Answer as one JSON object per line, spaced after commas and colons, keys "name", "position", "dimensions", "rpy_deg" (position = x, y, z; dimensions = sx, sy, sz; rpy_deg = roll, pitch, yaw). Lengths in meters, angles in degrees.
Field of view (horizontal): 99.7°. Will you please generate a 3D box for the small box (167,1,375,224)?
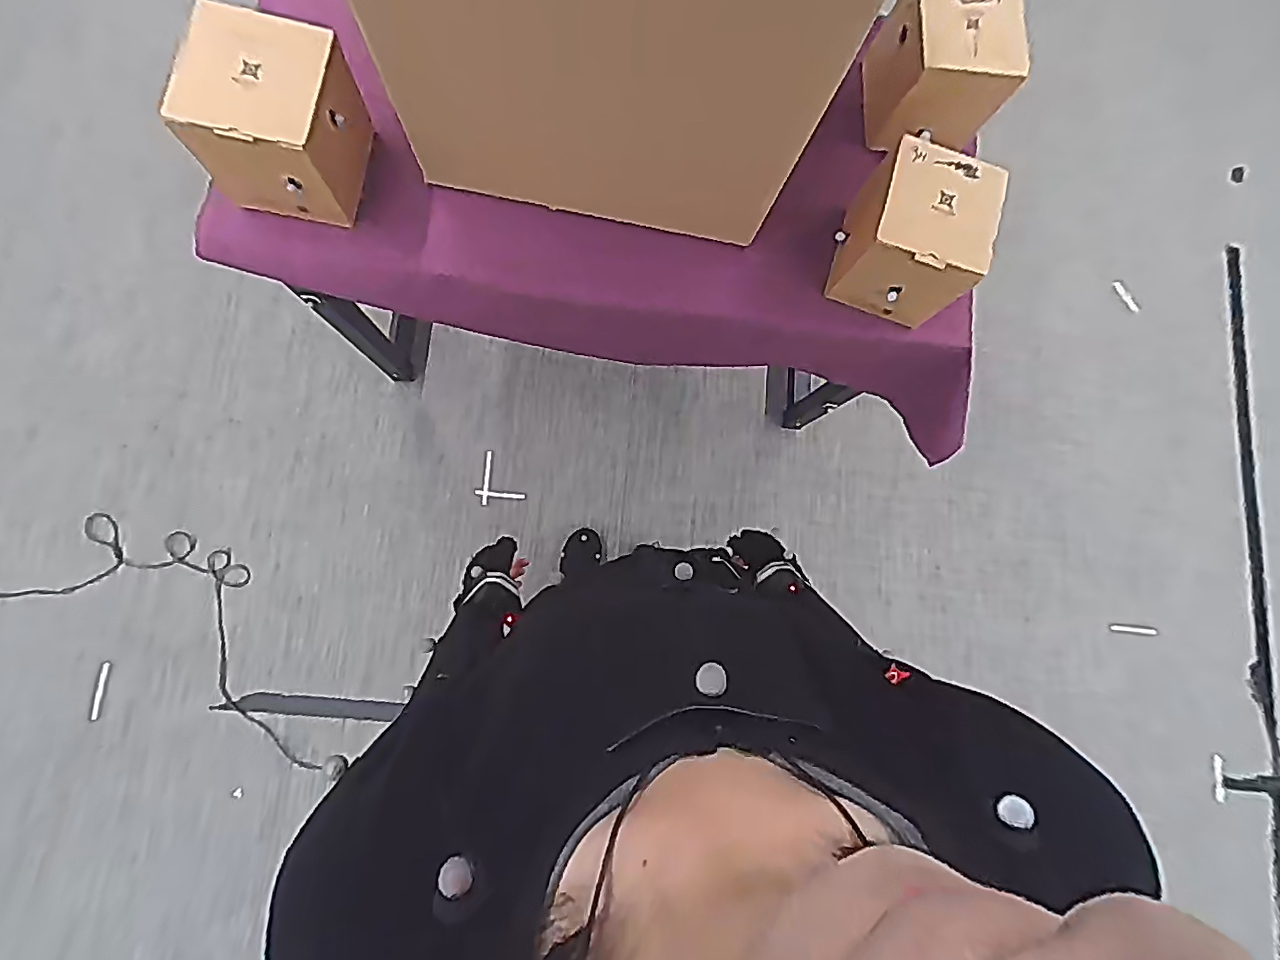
{"name": "small box", "position": [-0.488, -0.490, 0.748], "dimensions": [0.168, 0.176, 0.179], "rpy_deg": [9, 79, -8]}
